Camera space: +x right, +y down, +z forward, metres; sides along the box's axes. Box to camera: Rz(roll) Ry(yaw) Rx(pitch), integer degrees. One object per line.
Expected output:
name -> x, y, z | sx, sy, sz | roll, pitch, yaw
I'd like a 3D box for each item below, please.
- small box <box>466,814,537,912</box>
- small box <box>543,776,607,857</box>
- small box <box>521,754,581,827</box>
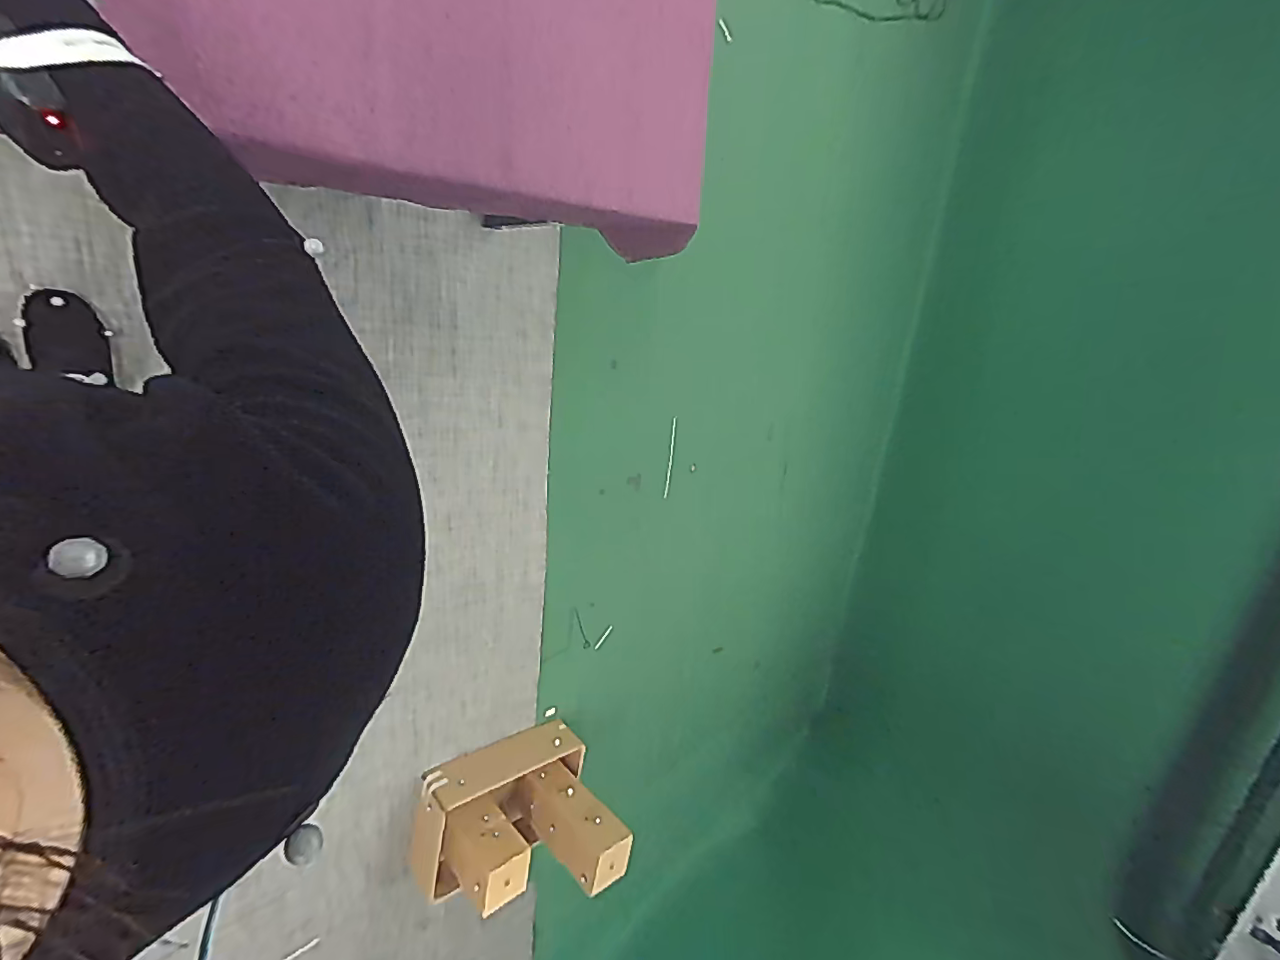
small box -> -0.480, 1.303, 1.853 | 0.168, 0.176, 0.179 | -2, 106, -47
small box -> -0.256, 1.294, 2.089 | 0.168, 0.176, 0.179 | 4, 101, -46
small box -> -0.367, 1.253, 2.202 | 0.168, 0.176, 0.179 | 2, 104, -45
